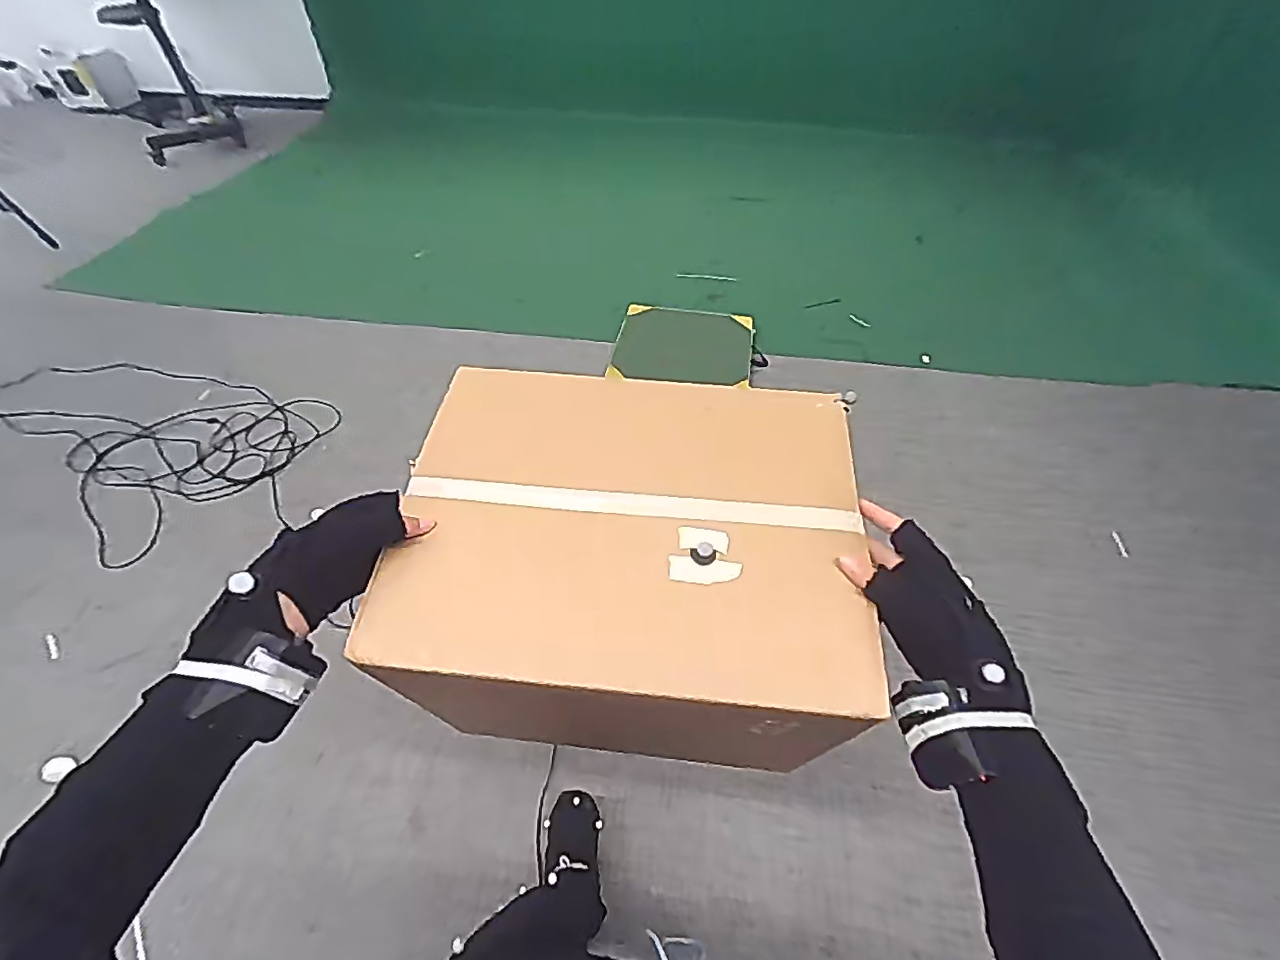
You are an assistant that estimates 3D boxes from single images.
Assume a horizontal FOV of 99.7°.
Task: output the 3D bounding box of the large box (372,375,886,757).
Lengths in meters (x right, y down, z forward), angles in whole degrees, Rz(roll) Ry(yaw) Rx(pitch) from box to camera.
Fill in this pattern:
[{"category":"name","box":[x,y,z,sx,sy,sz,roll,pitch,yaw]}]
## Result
[{"category":"large box","box":[-0.003,0.108,0.616,0.408,0.320,0.320,5,56,3]}]
